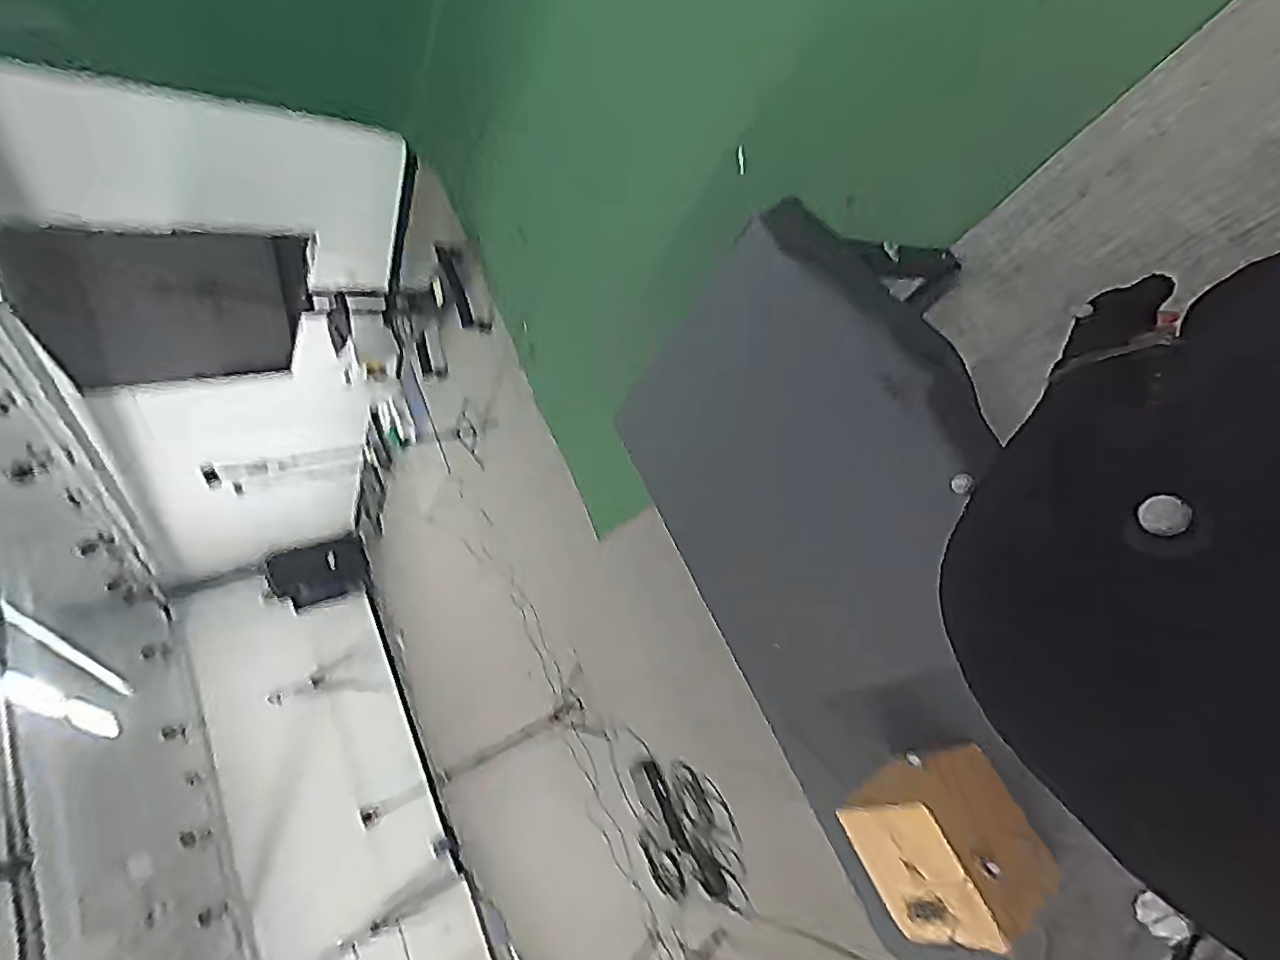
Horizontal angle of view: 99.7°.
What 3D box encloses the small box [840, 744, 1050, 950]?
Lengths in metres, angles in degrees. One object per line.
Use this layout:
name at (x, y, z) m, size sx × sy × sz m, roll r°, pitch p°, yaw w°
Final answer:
small box at (0.438, 0.515, 0.780) m, size 0.179 × 0.176 × 0.168 m, roll 62°, pitch 141°, yaw 19°
